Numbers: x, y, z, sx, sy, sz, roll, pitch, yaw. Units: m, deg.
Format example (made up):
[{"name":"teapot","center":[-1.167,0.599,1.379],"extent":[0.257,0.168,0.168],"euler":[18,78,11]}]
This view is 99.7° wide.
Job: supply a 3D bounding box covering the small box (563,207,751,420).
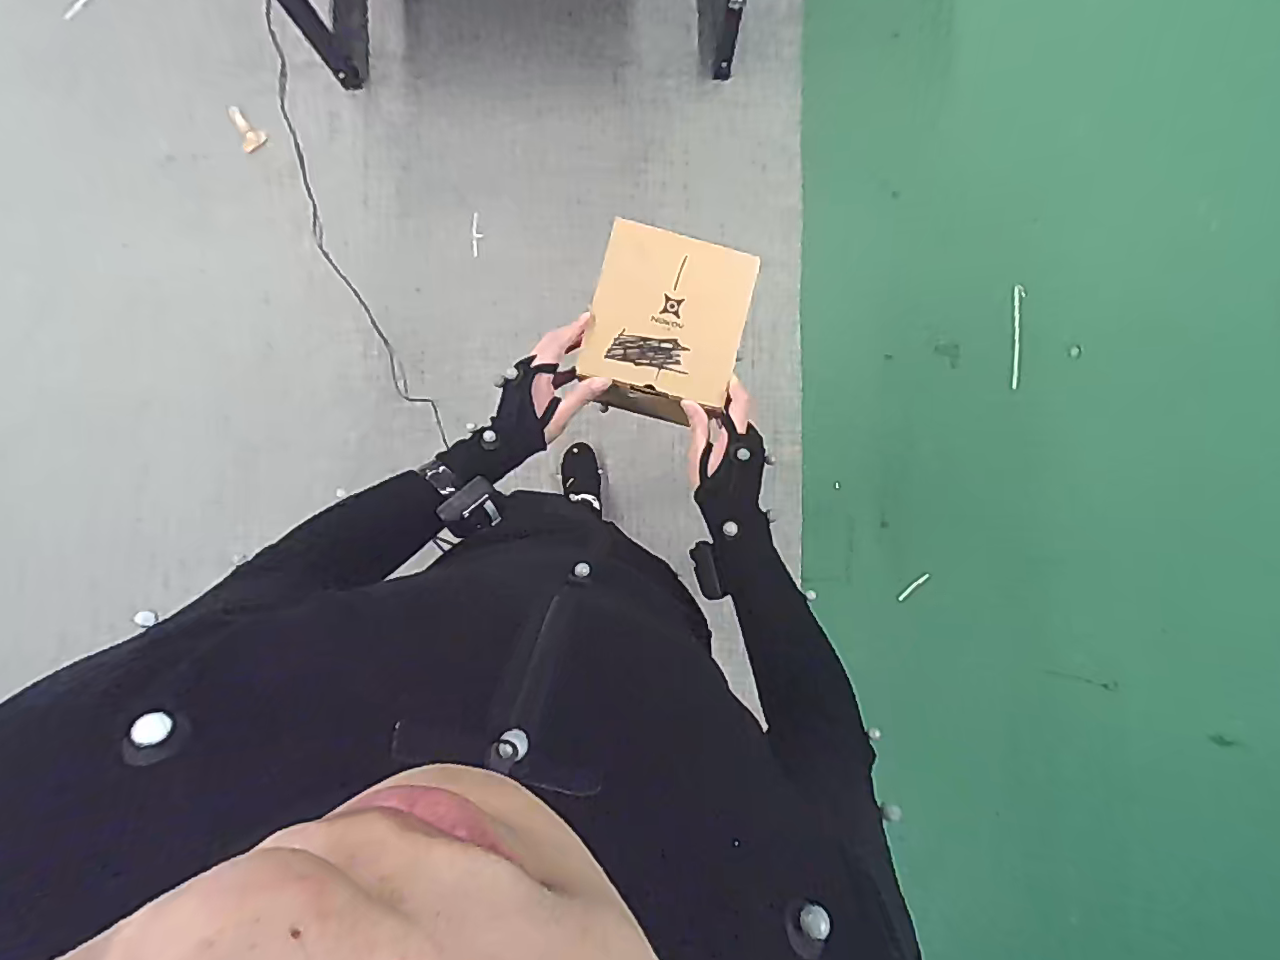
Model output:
[{"name":"small box","center":[0.016,-0.180,0.643],"extent":[0.168,0.176,0.179],"euler":[14,87,-2]}]
